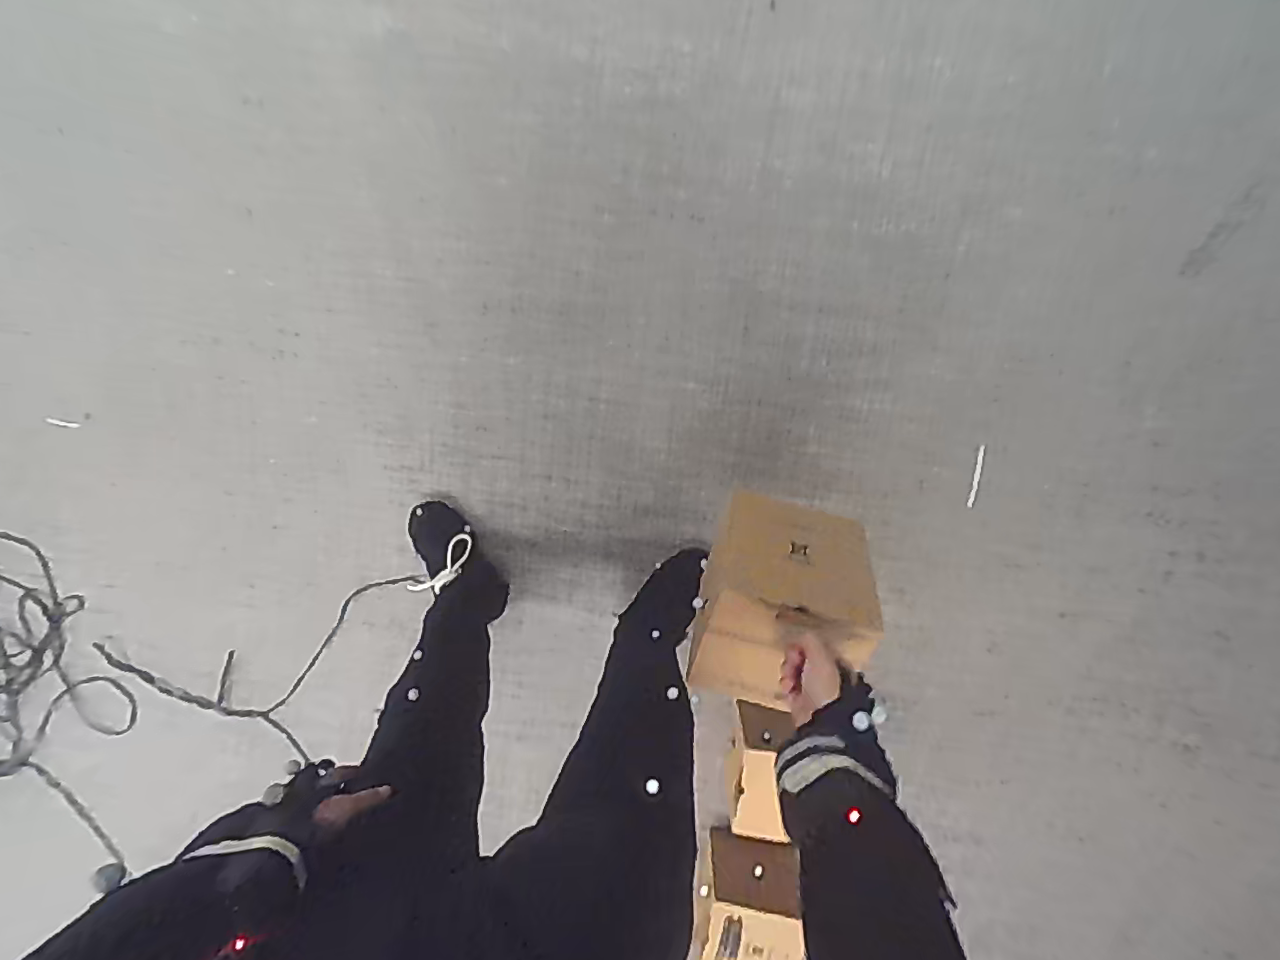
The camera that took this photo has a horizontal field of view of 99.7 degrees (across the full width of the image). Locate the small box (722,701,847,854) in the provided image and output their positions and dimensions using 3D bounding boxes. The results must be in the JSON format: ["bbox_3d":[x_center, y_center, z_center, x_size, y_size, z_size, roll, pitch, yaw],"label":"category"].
[{"bbox_3d":[0.251,0.526,0.978,0.179,0.176,0.168,7,99,4],"label":"small box"}]

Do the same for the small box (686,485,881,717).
[{"bbox_3d":[0.156,0.139,0.623,0.168,0.179,0.176,15,128,6],"label":"small box"}]
